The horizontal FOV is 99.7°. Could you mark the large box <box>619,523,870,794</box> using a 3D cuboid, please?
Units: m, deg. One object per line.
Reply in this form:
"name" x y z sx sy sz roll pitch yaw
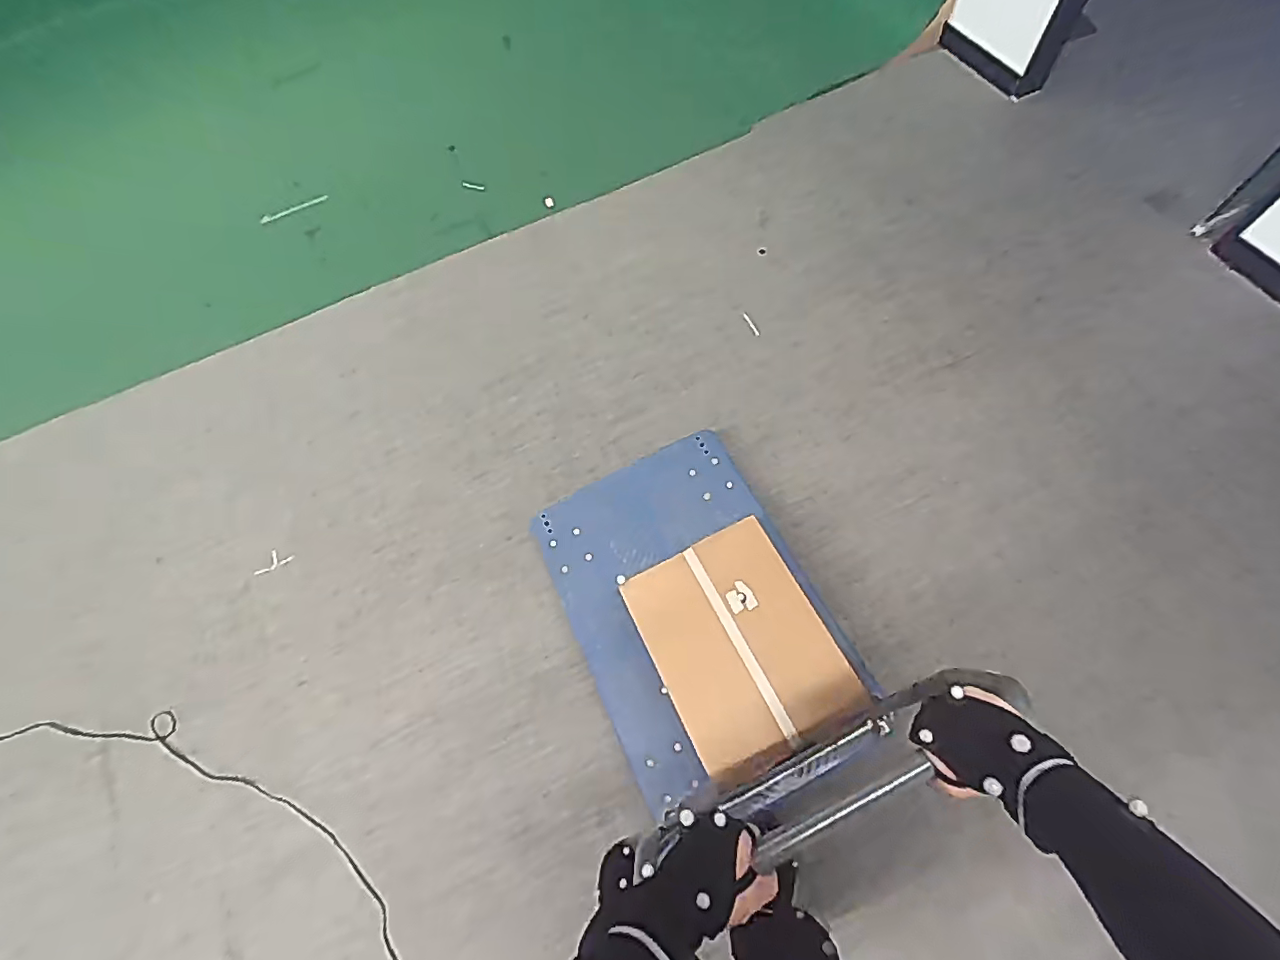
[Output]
"large box" 0.200 0.371 1.140 0.320 0.320 0.408 -27 64 -6
